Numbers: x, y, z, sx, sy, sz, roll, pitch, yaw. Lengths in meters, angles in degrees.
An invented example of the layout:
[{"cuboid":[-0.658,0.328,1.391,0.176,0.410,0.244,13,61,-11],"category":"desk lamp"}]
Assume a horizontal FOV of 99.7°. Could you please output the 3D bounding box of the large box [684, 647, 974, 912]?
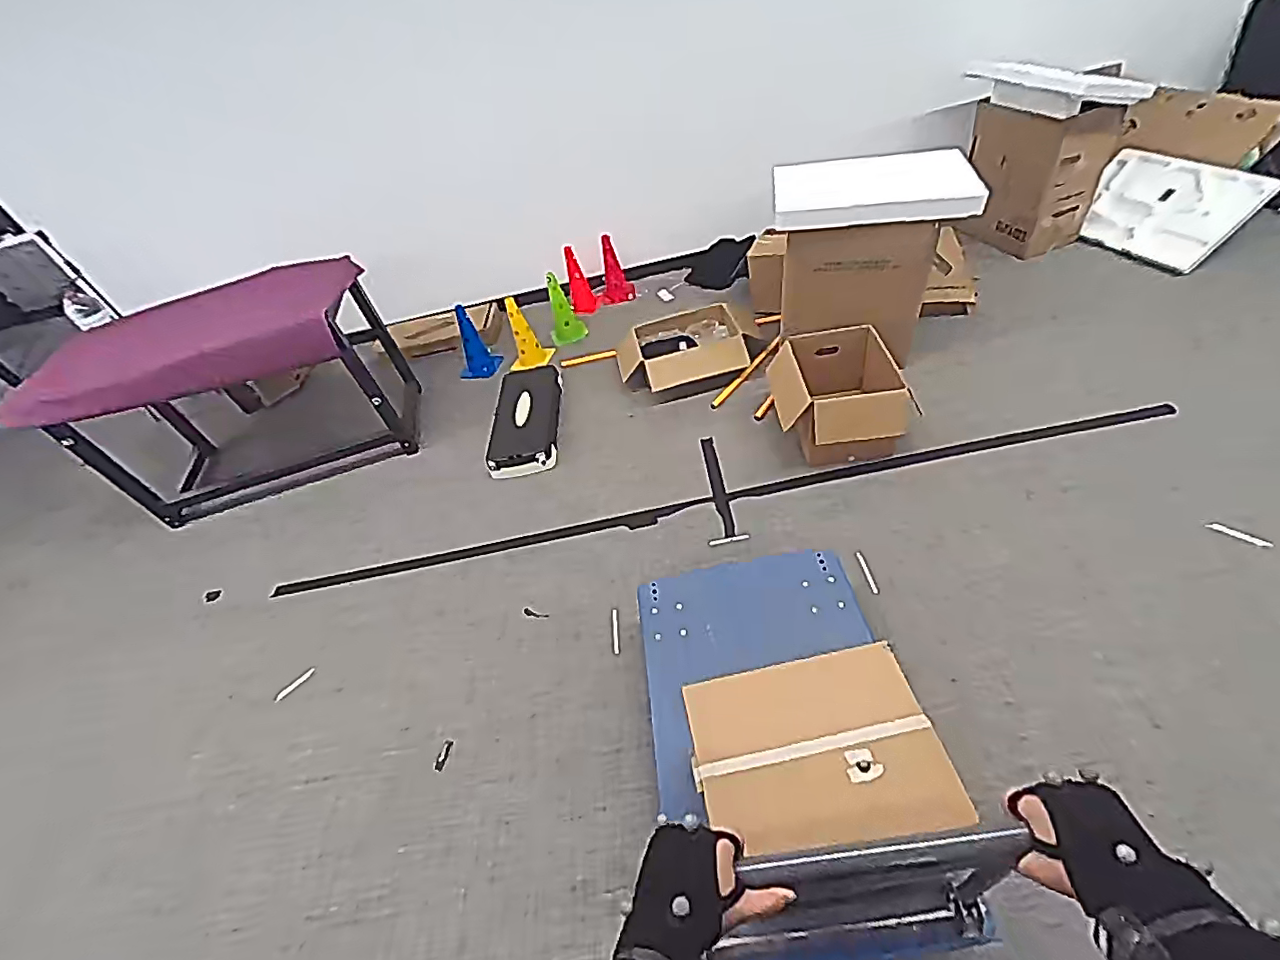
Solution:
[{"cuboid":[0.322,0.575,1.037,0.408,0.320,0.320,-13,45,0],"category":"large box"}]
